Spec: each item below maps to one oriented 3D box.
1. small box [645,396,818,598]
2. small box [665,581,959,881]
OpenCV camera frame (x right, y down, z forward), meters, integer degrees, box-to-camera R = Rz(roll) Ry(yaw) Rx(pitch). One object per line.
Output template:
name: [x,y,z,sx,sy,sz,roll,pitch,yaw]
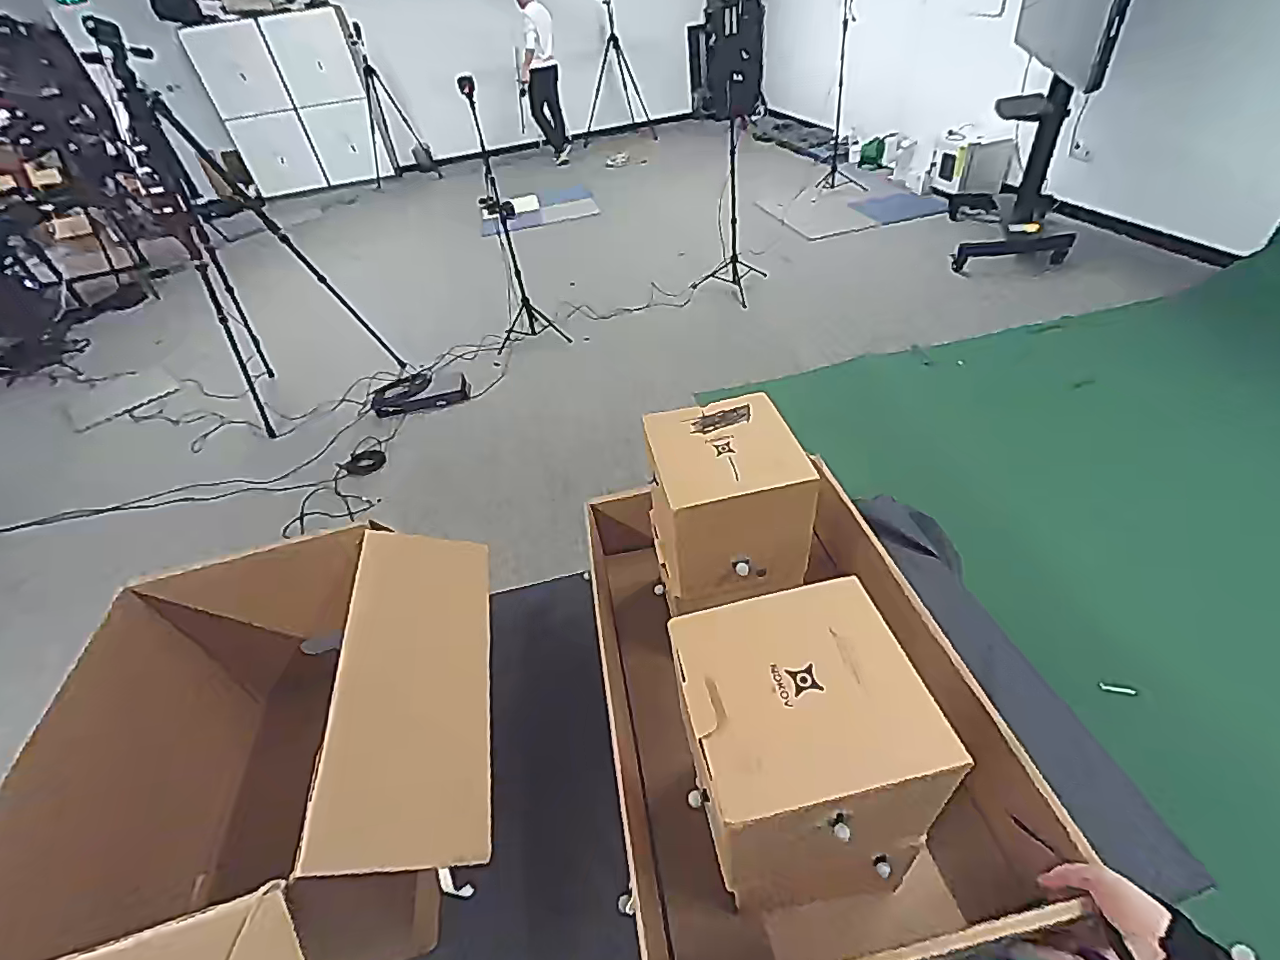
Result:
small box: [0.106,0.021,0.688,0.168,0.176,0.179,-12,44,-3]
small box: [0.130,0.219,0.473,0.179,0.176,0.168,-12,42,-4]
